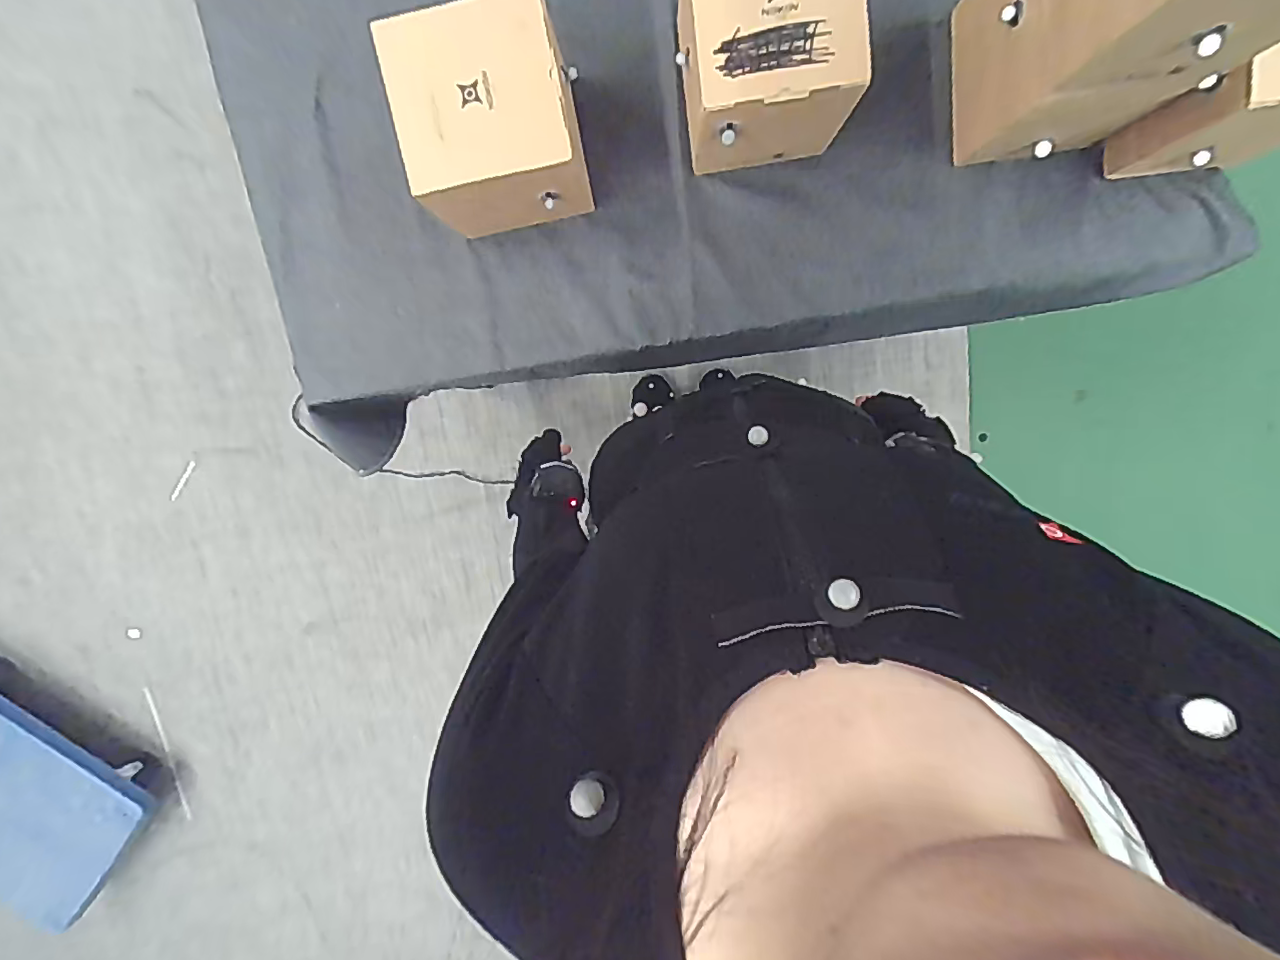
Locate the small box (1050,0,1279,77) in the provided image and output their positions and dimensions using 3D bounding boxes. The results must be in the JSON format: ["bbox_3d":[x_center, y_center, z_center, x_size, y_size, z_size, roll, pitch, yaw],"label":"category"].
[{"bbox_3d":[0.457,-0.448,0.417,0.168,0.176,0.179,-5,99,3],"label":"small box"}]
